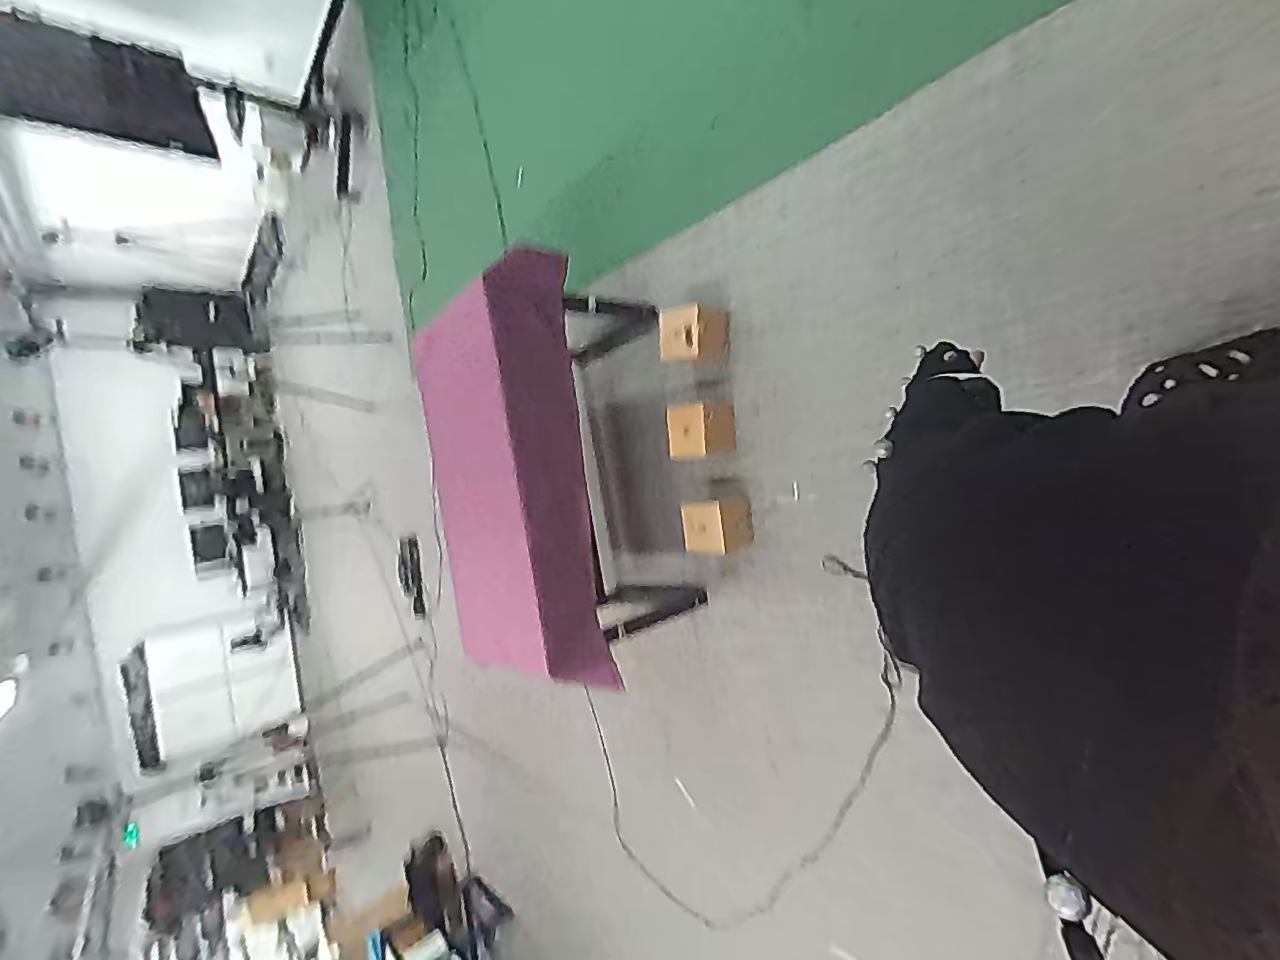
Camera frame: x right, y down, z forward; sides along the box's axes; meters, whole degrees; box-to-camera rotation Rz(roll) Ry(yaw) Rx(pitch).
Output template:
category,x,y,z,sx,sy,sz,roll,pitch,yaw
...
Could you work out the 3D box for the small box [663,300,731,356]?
category,x,y,z,sx,sy,sz,roll,pitch,yaw
small box,0.198,-0.518,1.862,0.179,0.176,0.168,7,101,48
